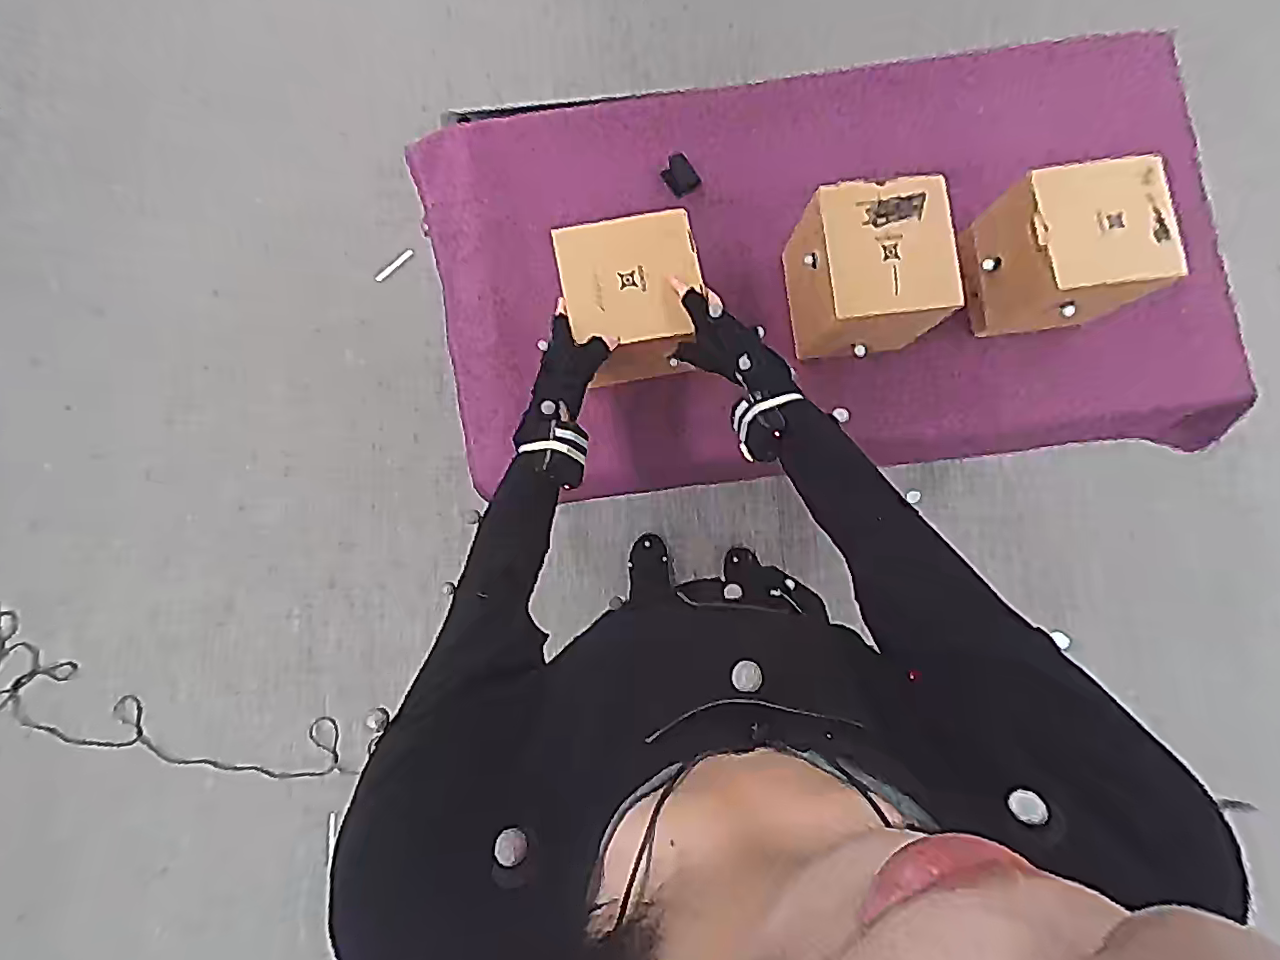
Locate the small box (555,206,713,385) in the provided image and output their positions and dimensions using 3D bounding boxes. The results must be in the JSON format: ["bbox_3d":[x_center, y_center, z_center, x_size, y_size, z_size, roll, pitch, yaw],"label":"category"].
[{"bbox_3d":[-0.009,-0.245,0.754,0.179,0.176,0.168,-11,83,-1],"label":"small box"}]

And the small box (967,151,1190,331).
[{"bbox_3d":[0.596,-0.324,0.766,0.179,0.176,0.168,-7,84,0],"label":"small box"}]

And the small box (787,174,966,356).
[{"bbox_3d":[0.316,-0.291,0.760,0.168,0.176,0.179,-6,85,-1],"label":"small box"}]
